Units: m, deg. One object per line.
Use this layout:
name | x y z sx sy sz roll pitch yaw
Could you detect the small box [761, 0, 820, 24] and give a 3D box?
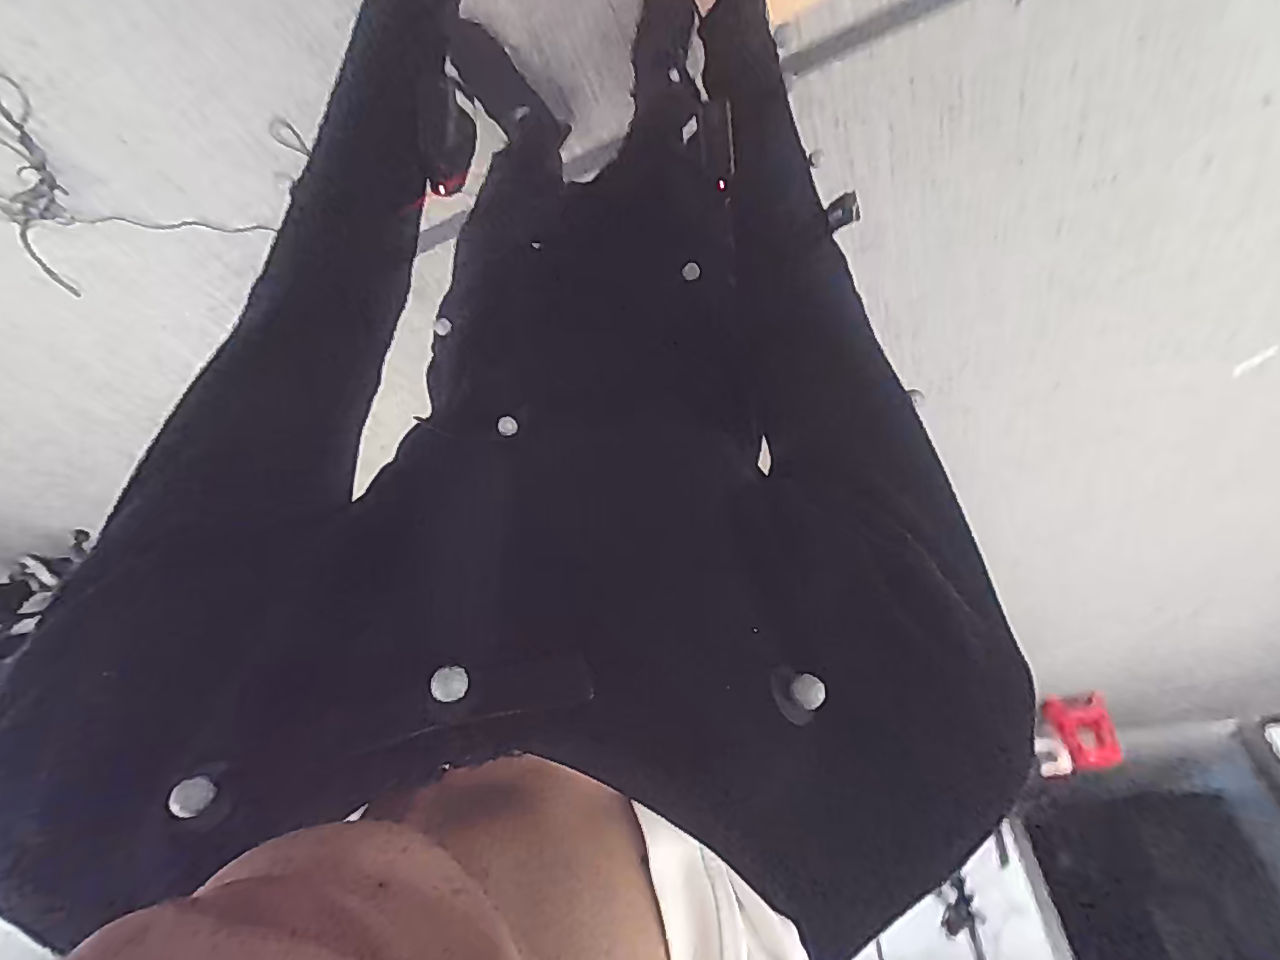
small box | 0.222 -0.741 0.692 0.179 0.176 0.168 -17 139 19
